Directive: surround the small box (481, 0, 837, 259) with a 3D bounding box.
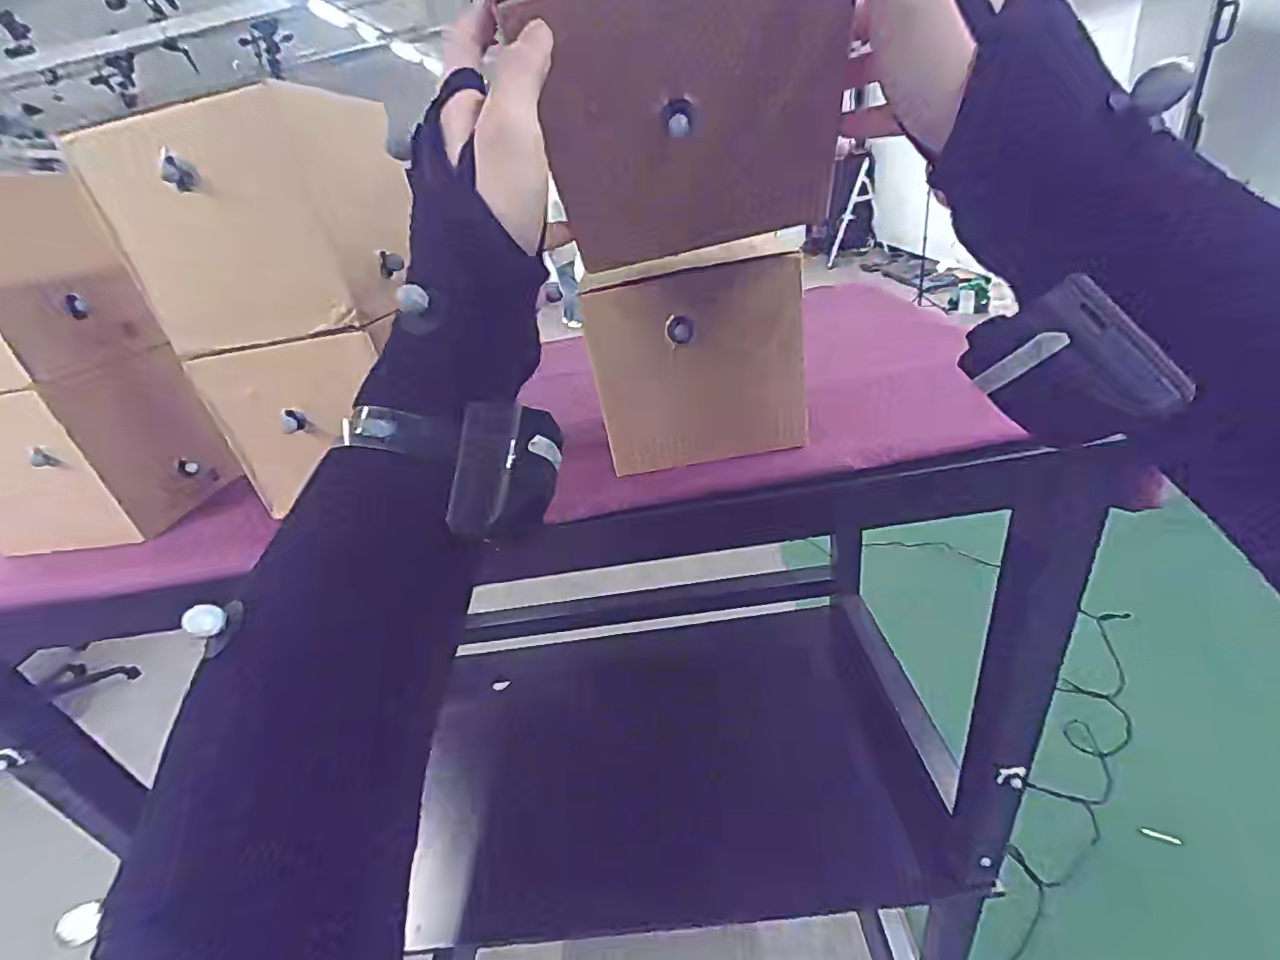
[{"bbox_3d":[0.017,-0.277,0.347,0.179,0.176,0.168,-11,61,8],"label":"small box"}]

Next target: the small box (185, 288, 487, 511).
[{"bbox_3d":[-0.284,-0.082,0.552,0.179,0.176,0.168,-8,29,8],"label":"small box"}]

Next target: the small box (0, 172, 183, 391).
[{"bbox_3d":[-0.611,-0.185,0.518,0.179,0.176,0.168,-6,29,8],"label":"small box"}]

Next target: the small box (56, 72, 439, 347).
[{"bbox_3d":[-0.311,-0.224,0.474,0.179,0.176,0.168,-6,29,9],"label":"small box"}]

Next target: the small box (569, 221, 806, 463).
[{"bbox_3d":[0.047,-0.130,0.509,0.179,0.176,0.168,-10,30,5],"label":"small box"}]
